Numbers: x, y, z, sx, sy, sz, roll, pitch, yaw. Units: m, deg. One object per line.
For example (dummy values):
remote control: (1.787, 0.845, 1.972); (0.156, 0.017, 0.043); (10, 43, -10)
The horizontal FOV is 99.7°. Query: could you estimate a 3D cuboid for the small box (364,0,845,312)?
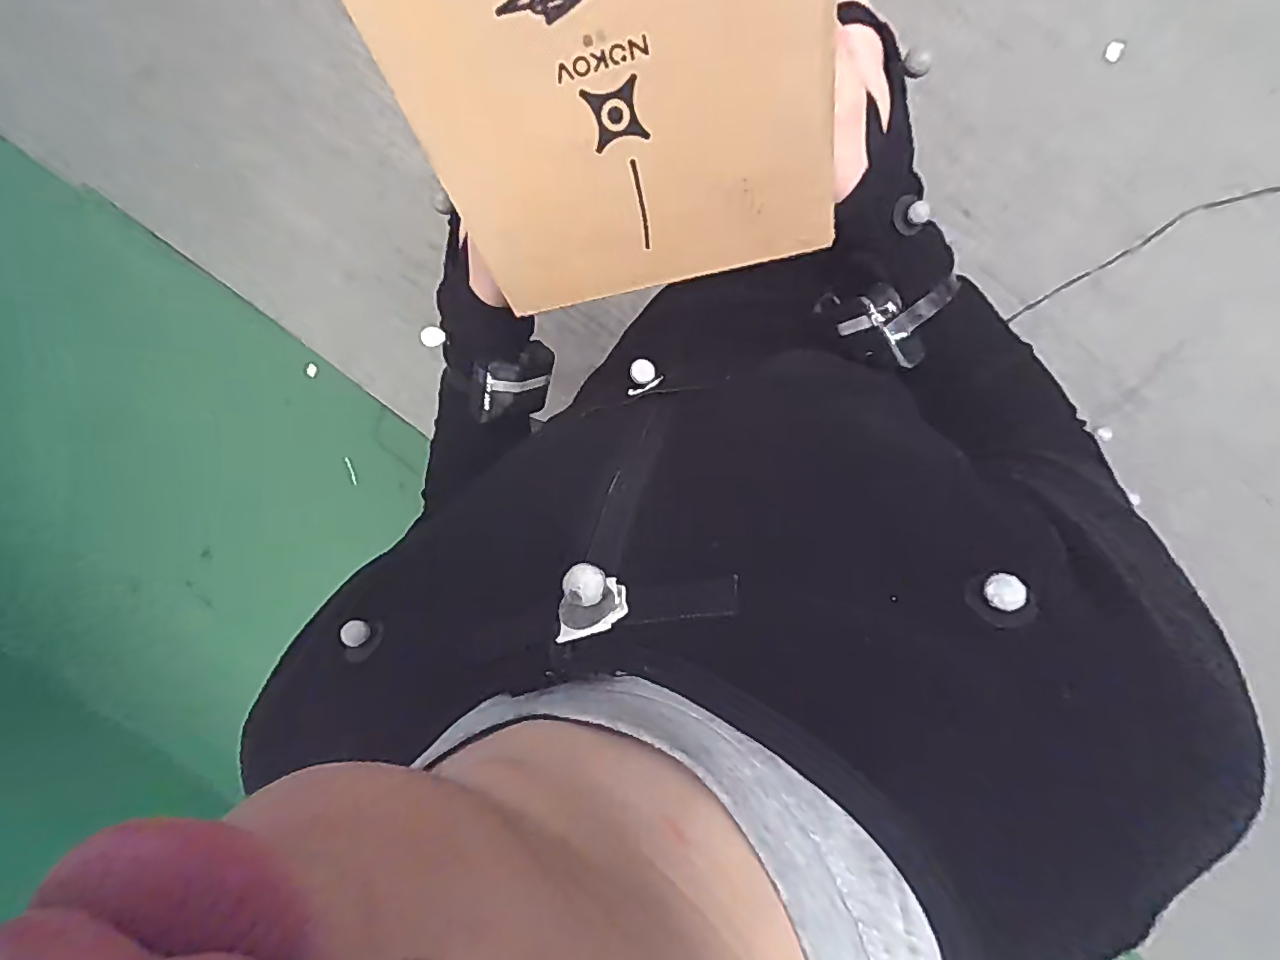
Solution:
small box: (-0.006, -0.216, 0.256); (0.168, 0.176, 0.179); (-9, 142, 12)
